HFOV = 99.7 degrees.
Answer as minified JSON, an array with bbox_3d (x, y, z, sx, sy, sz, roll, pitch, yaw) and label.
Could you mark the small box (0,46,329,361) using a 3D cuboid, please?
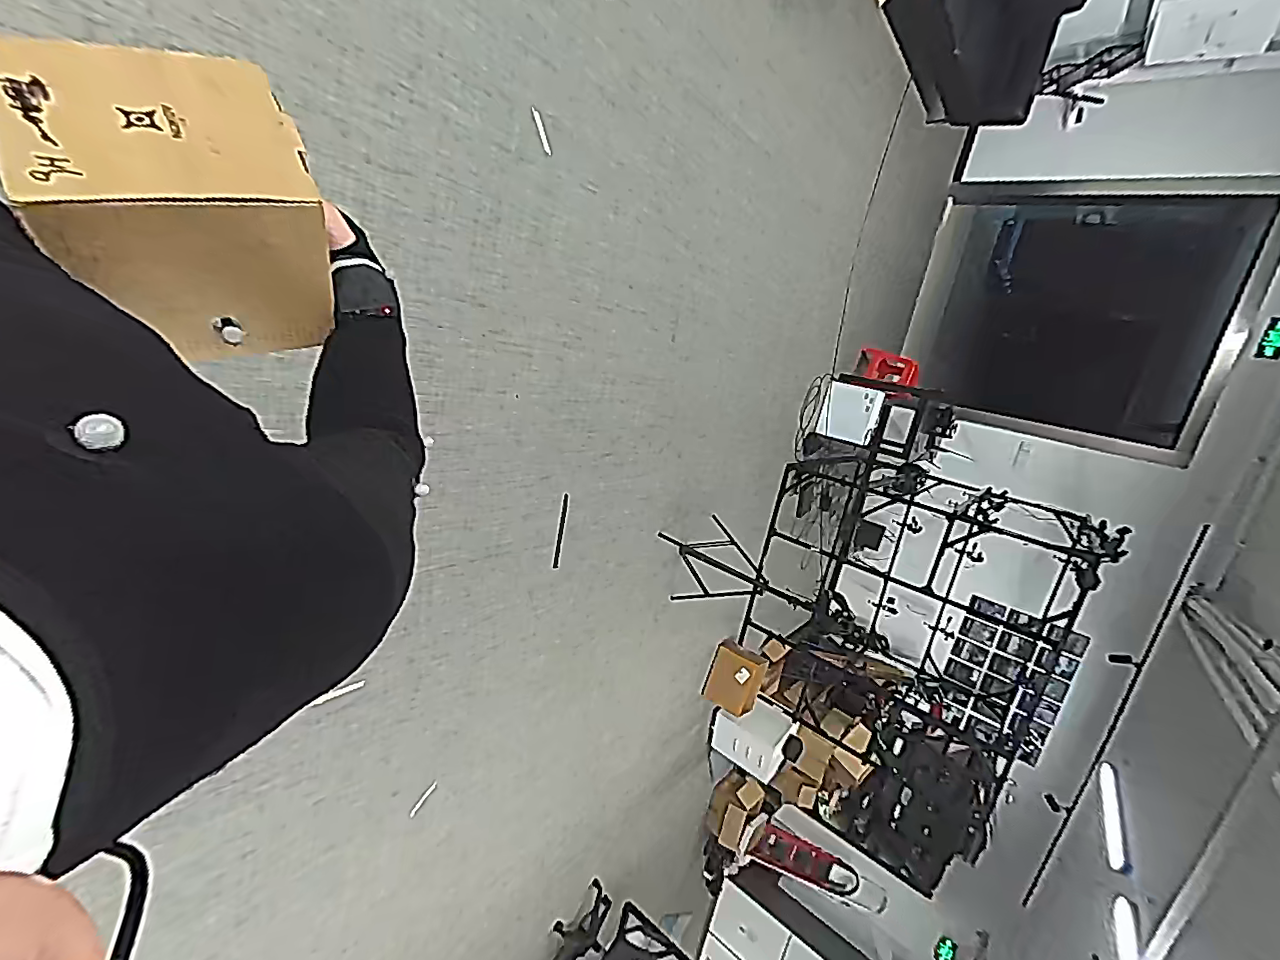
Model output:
[{"bbox_3d":[-0.393,-0.228,0.479,0.179,0.168,0.176,-19,161,-33],"label":"small box"}]
